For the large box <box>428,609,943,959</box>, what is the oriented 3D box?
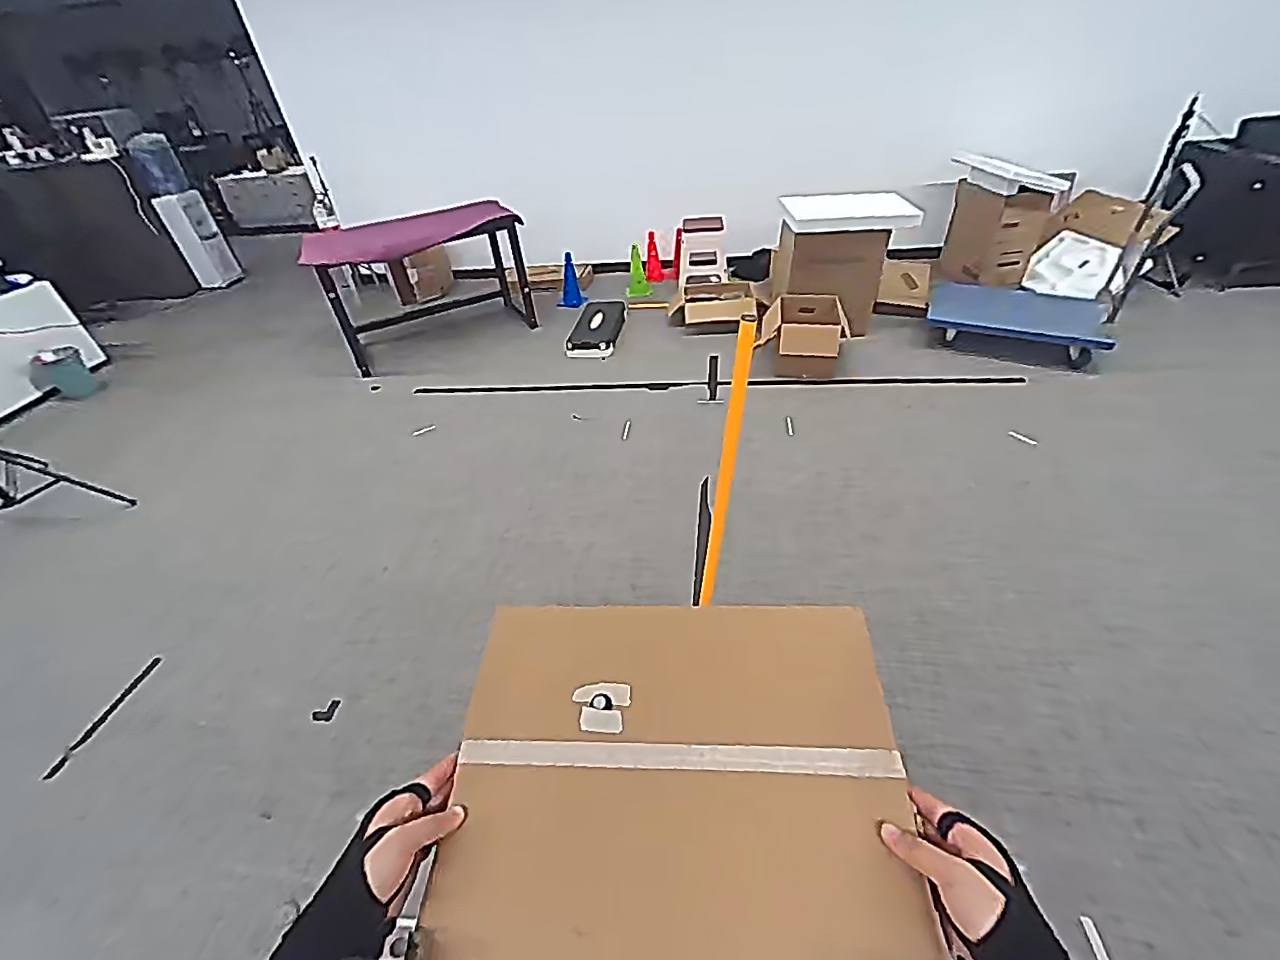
[{"bbox_3d":[0.053,0.365,0.616,0.408,0.320,0.320,-3,46,8],"label":"large box"}]
